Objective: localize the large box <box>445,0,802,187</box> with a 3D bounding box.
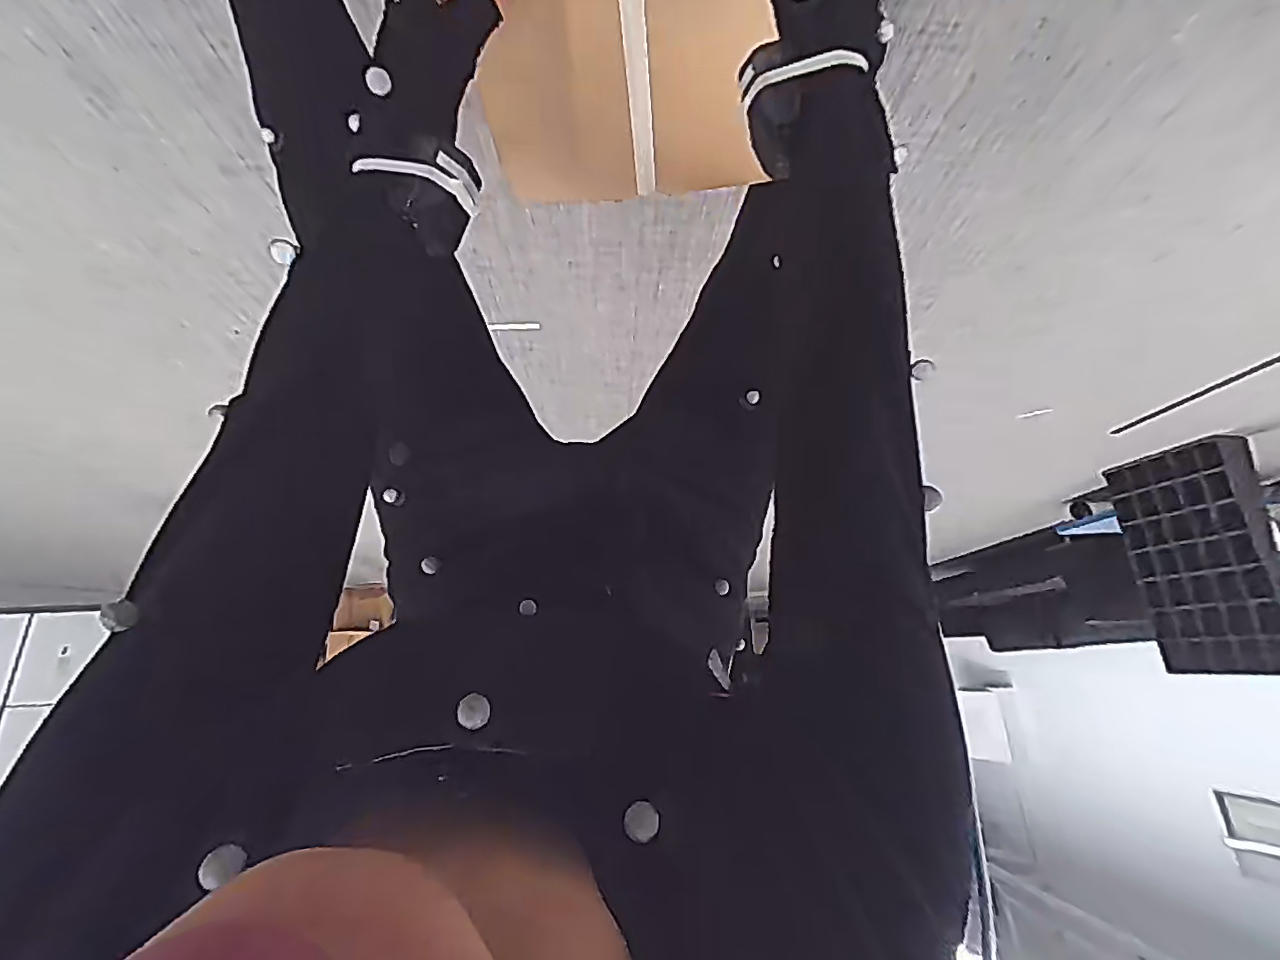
[{"bbox_3d":[-0.017,-0.560,0.501,0.320,0.320,0.408,-3,161,3],"label":"large box"}]
